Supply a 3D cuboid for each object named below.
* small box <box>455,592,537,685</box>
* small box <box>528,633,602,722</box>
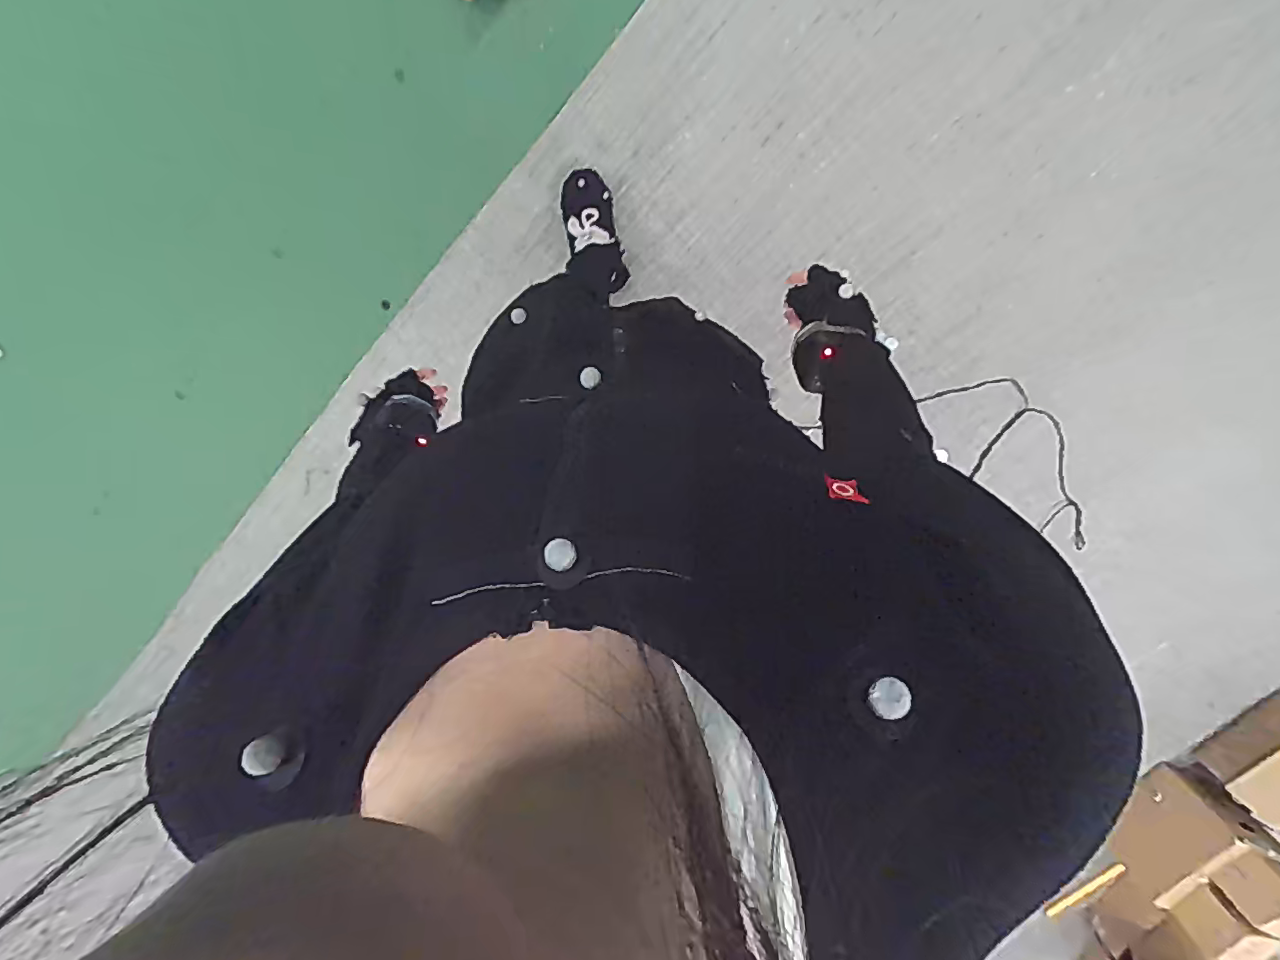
[{"bbox_3d":[-0.434,0.486,1.669,0.168,0.176,0.179,38,108,-18],"label":"small box"},{"bbox_3d":[-0.238,0.629,1.738,0.168,0.176,0.179,33,110,-16],"label":"small box"}]
